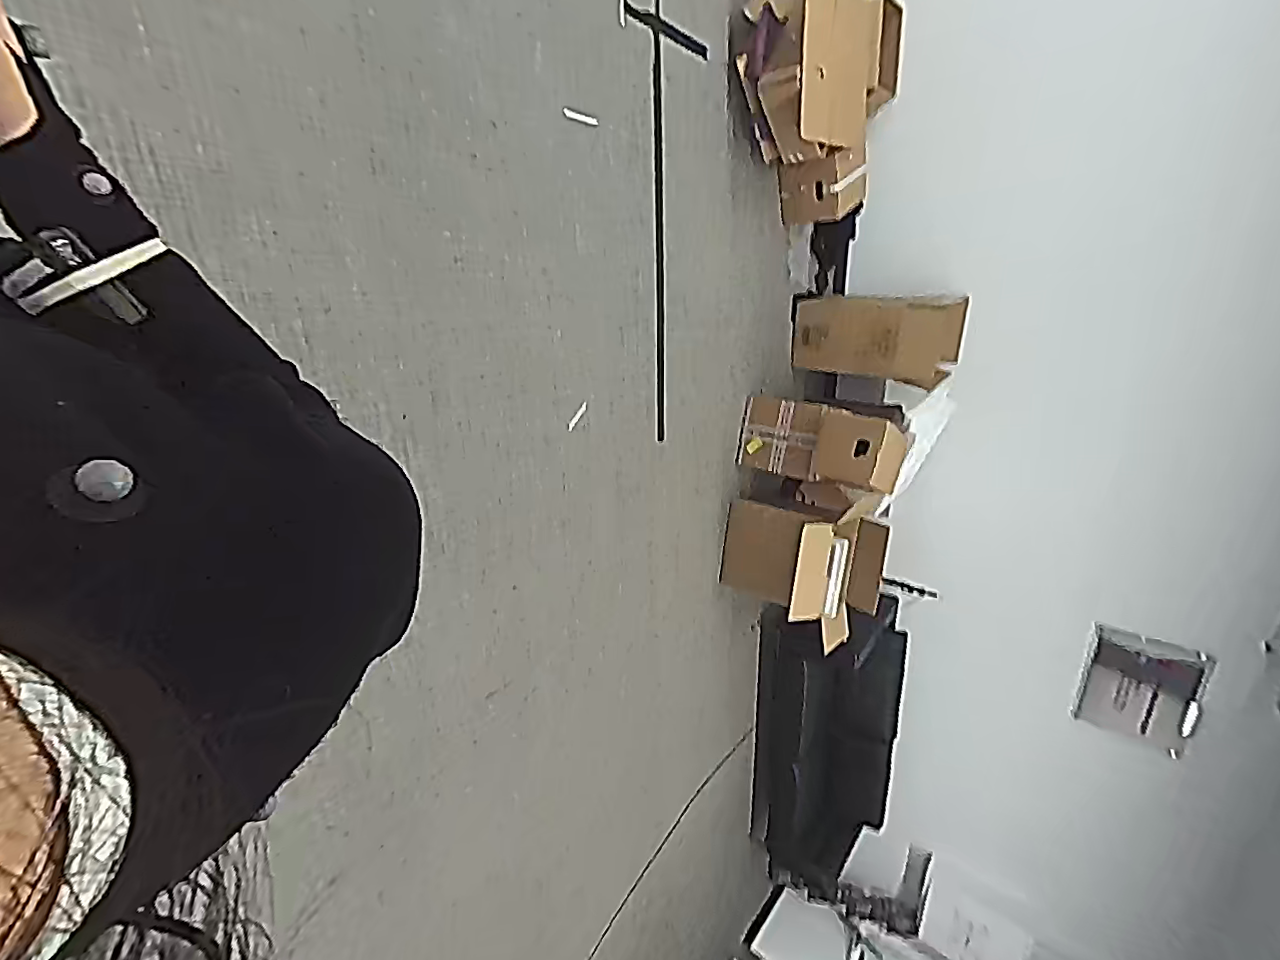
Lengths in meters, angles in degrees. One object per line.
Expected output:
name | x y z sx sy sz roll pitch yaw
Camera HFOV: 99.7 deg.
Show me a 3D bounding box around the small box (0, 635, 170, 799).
small box | -0.990 0.404 0.959 0.179 0.176 0.168 -26 119 -46
